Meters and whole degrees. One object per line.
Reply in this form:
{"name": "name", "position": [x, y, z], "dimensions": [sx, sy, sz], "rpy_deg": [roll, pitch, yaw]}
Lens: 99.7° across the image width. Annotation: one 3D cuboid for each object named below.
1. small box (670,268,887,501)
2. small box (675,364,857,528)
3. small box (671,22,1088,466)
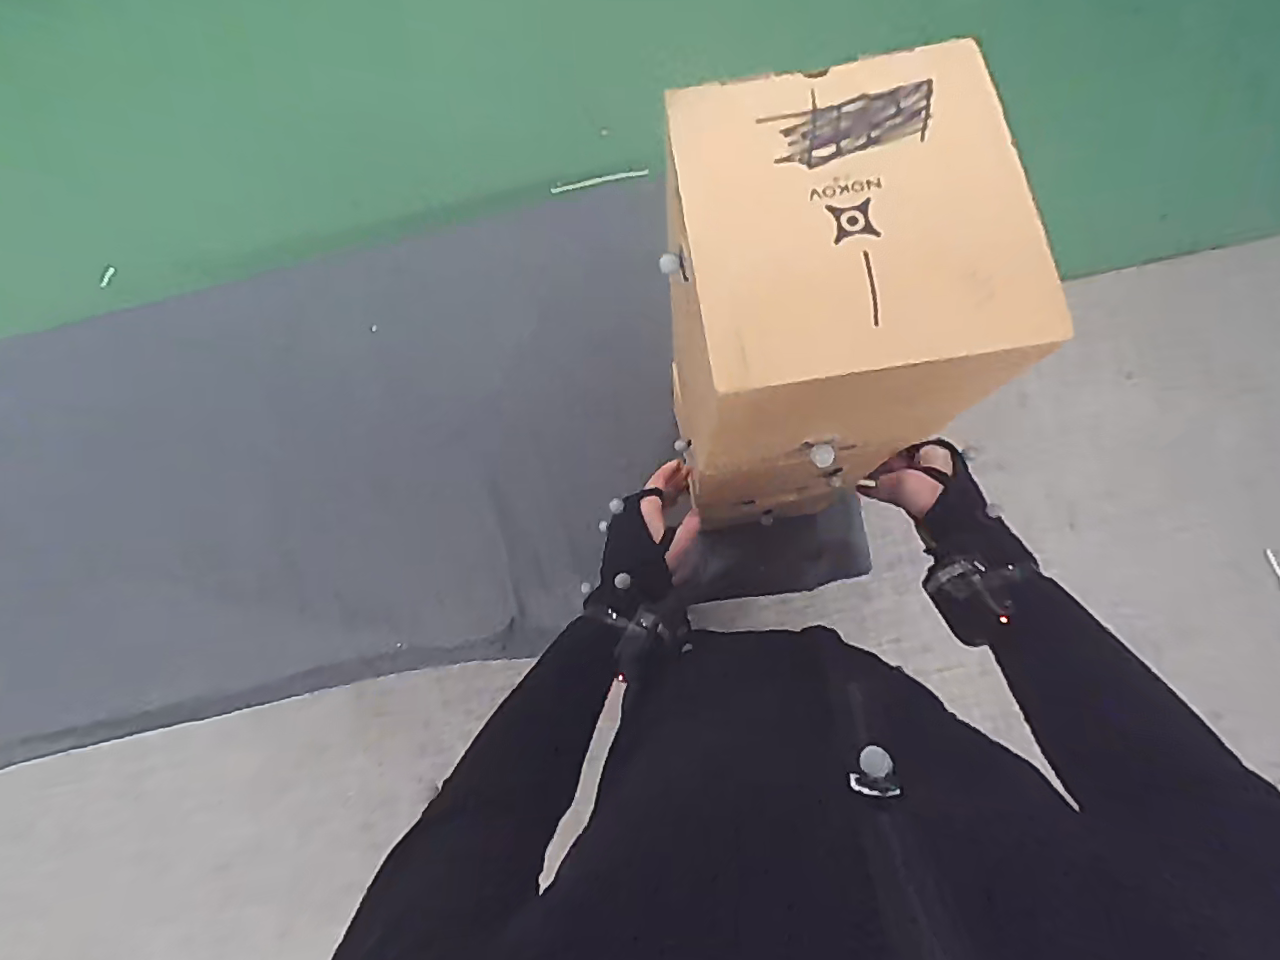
{"name": "small box", "position": [0.123, -0.084, 0.496], "dimensions": [0.168, 0.176, 0.179], "rpy_deg": [-9, 74, 3]}
{"name": "small box", "position": [0.139, -0.042, 0.652], "dimensions": [0.168, 0.176, 0.179], "rpy_deg": [-10, 75, 3]}
{"name": "small box", "position": [0.110, -0.121, 0.336], "dimensions": [0.168, 0.176, 0.179], "rpy_deg": [-8, 76, 3]}
